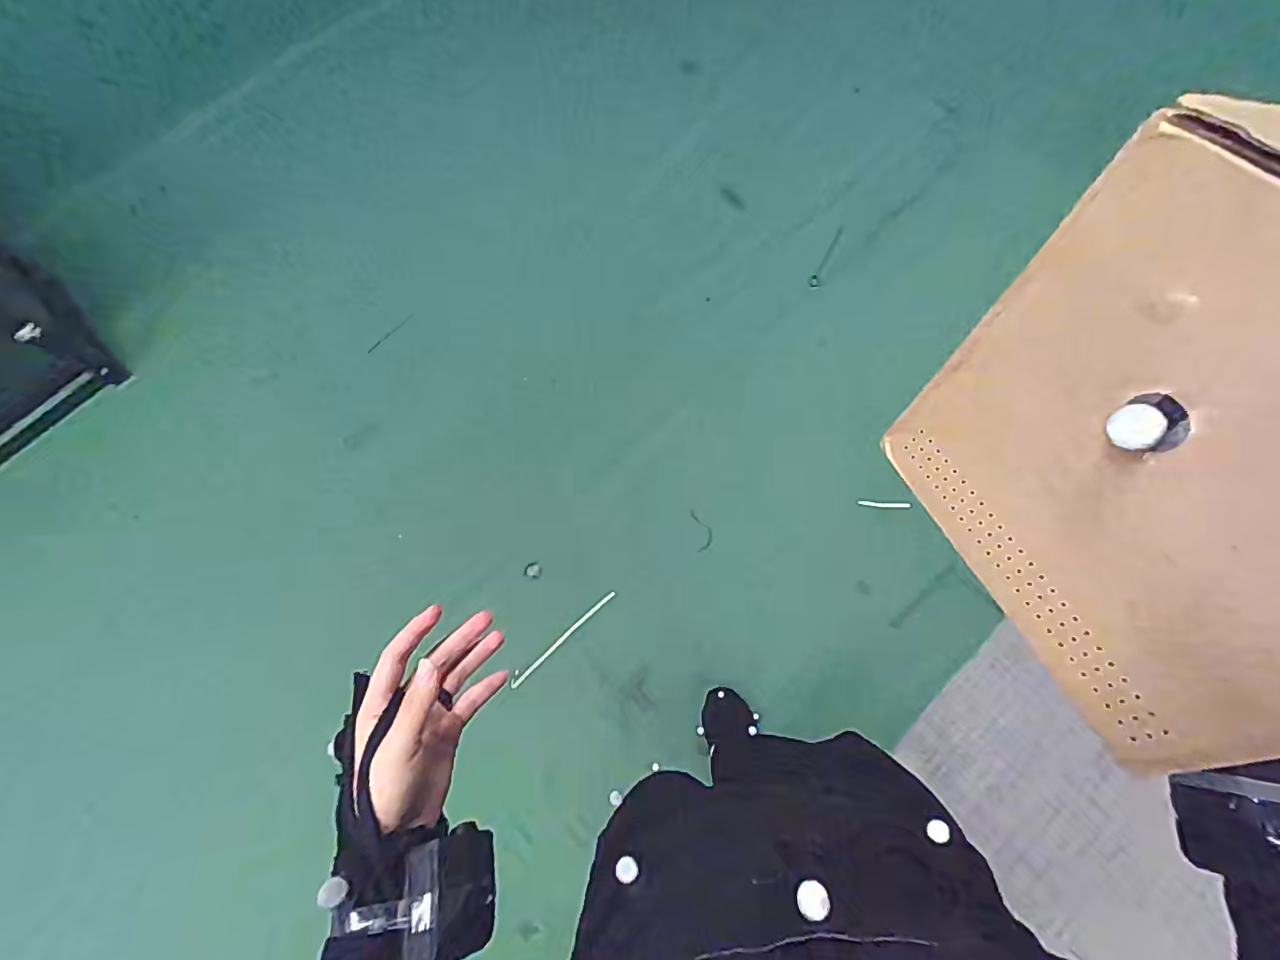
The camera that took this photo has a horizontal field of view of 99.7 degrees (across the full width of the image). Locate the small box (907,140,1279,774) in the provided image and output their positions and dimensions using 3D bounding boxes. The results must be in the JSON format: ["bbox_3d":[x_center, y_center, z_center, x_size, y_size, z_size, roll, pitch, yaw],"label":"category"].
[{"bbox_3d":[0.256,-0.009,0.222,0.168,0.176,0.179,-13,58,-20],"label":"small box"}]
